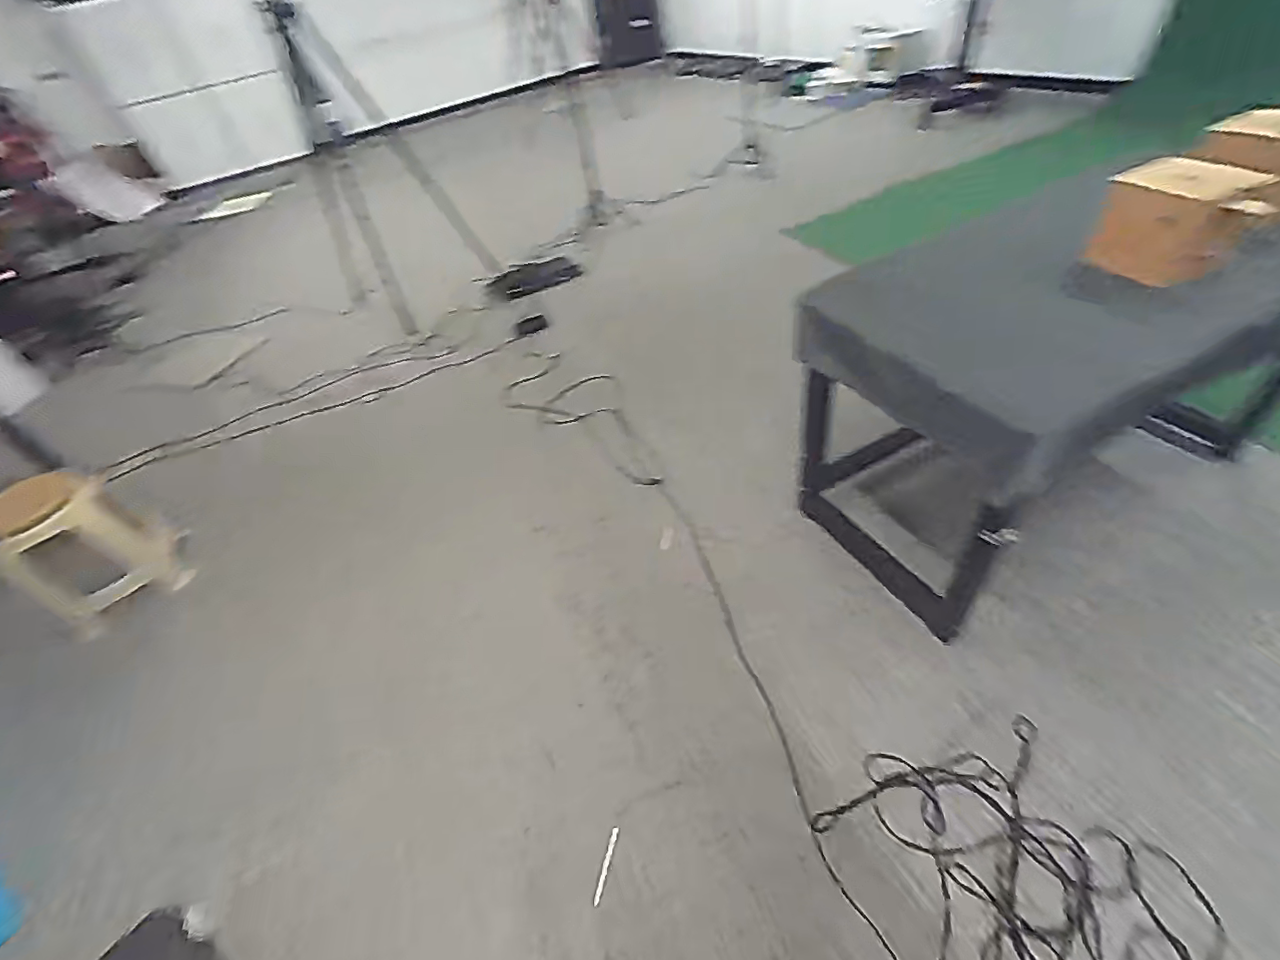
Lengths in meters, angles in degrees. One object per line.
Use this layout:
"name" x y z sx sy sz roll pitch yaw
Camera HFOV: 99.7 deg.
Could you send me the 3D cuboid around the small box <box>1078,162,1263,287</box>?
"small box" 1.046 -0.513 1.088 0.168 0.176 0.179 -21 45 -9
